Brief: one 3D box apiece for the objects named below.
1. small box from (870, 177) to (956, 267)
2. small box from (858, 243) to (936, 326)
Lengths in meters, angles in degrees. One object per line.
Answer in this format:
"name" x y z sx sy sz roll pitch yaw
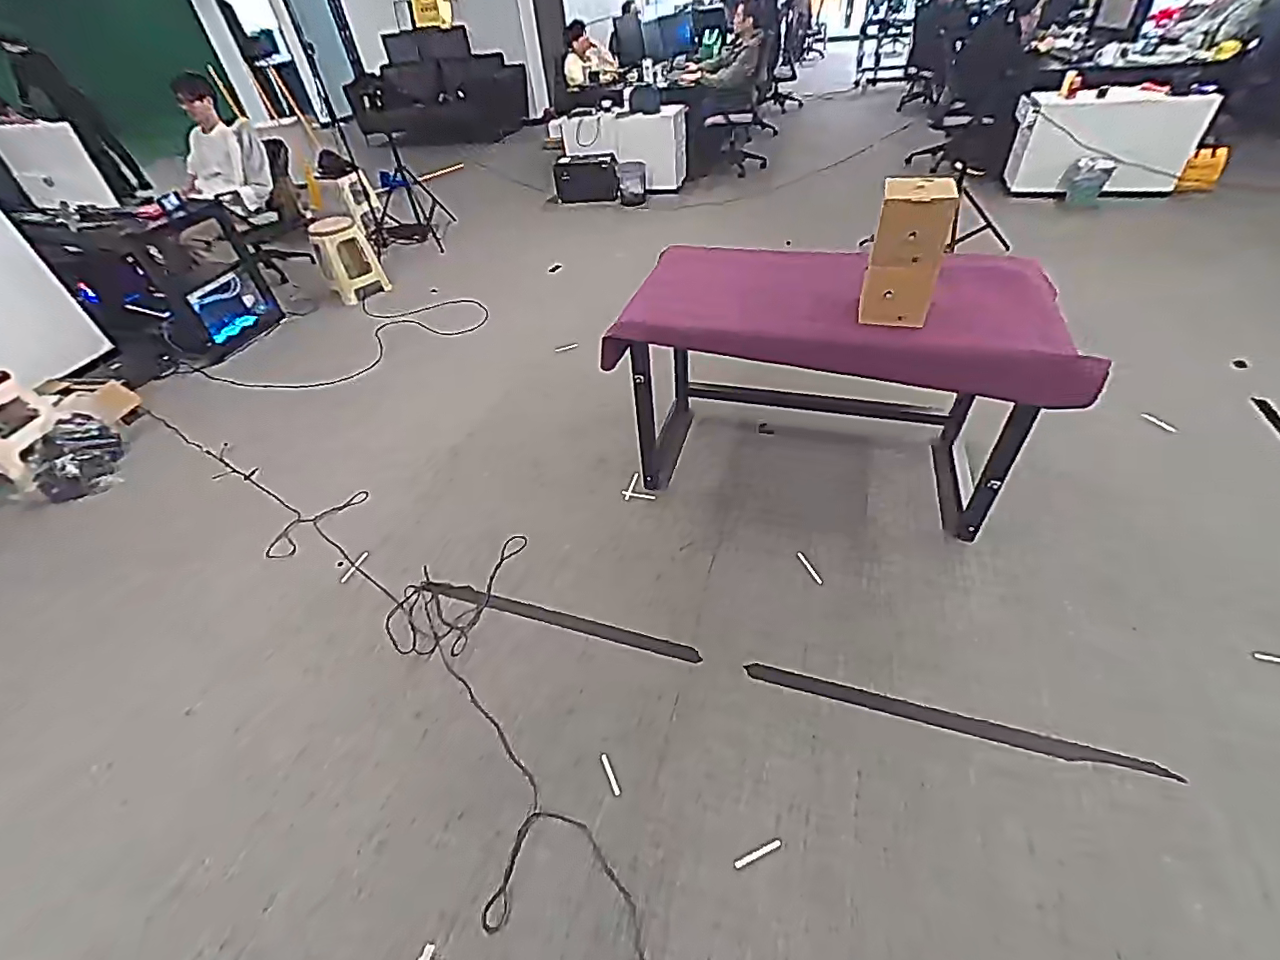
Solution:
"small box" 0.704 -0.669 1.406 0.168 0.176 0.179 10 46 17
"small box" 0.715 -0.547 1.515 0.168 0.176 0.179 9 45 16
